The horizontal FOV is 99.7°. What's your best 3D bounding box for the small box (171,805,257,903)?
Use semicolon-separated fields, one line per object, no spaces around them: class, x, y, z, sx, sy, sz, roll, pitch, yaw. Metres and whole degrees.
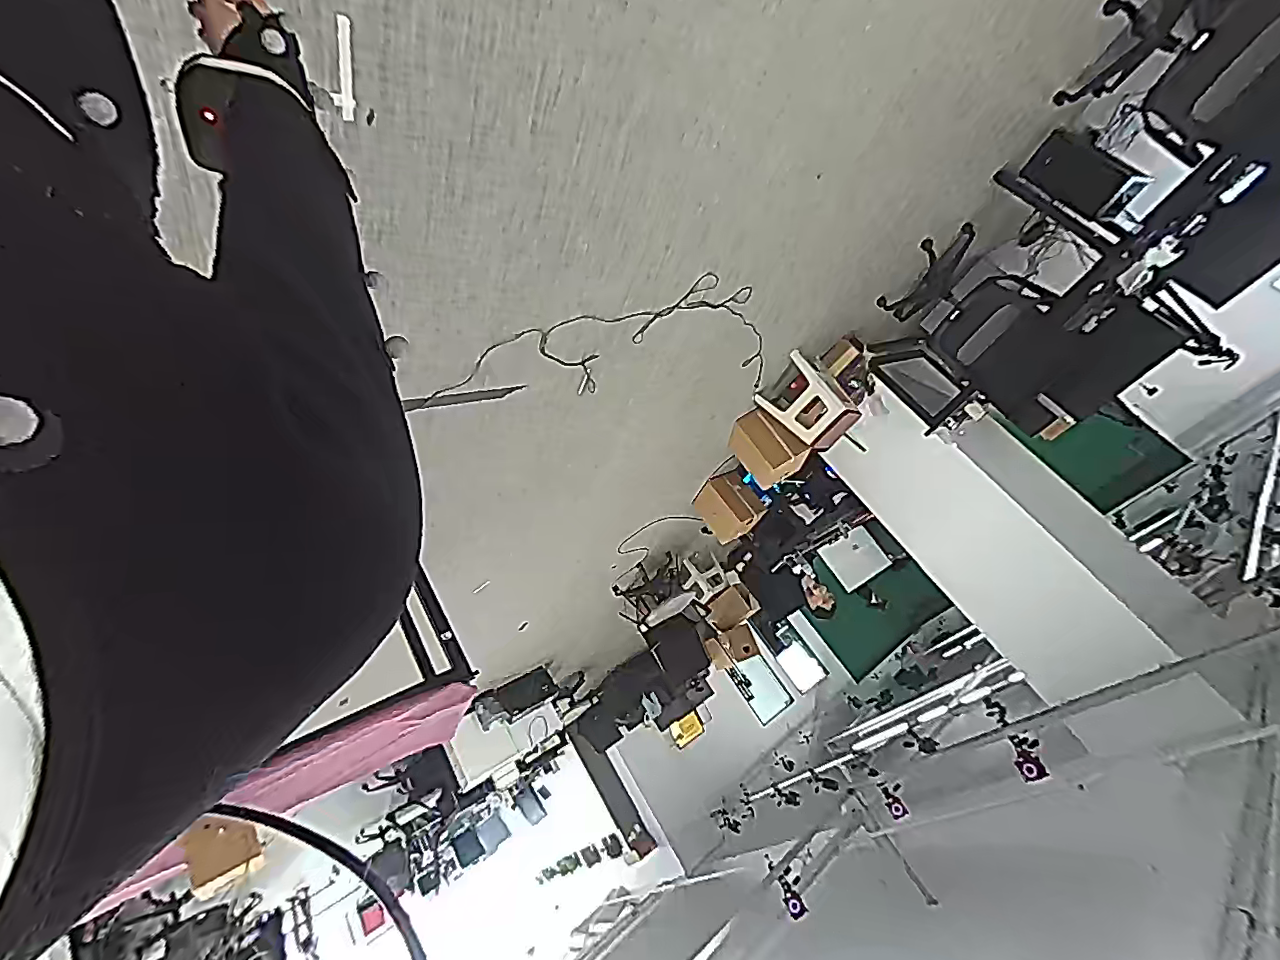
small box;-1.253;1.098;1.594;0.168;0.176;0.179;-16;150;-40
